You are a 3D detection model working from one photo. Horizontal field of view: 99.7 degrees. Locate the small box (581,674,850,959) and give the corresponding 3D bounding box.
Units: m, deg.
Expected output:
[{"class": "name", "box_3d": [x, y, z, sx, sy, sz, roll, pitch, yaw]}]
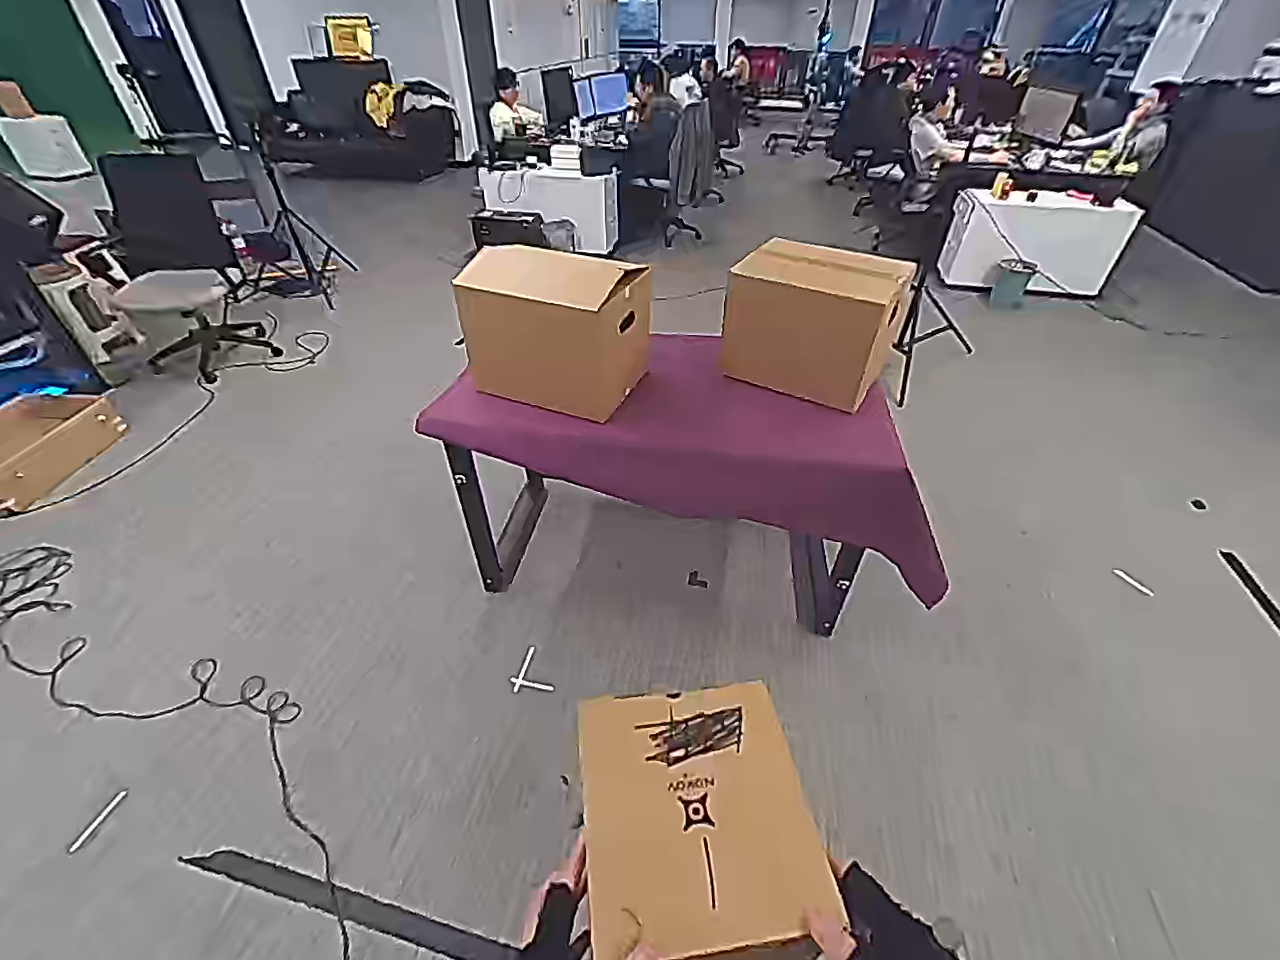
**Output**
[{"class": "small box", "box_3d": [0.038, 0.289, 0.443, 0.168, 0.176, 0.179, -4, 38, -8]}]
